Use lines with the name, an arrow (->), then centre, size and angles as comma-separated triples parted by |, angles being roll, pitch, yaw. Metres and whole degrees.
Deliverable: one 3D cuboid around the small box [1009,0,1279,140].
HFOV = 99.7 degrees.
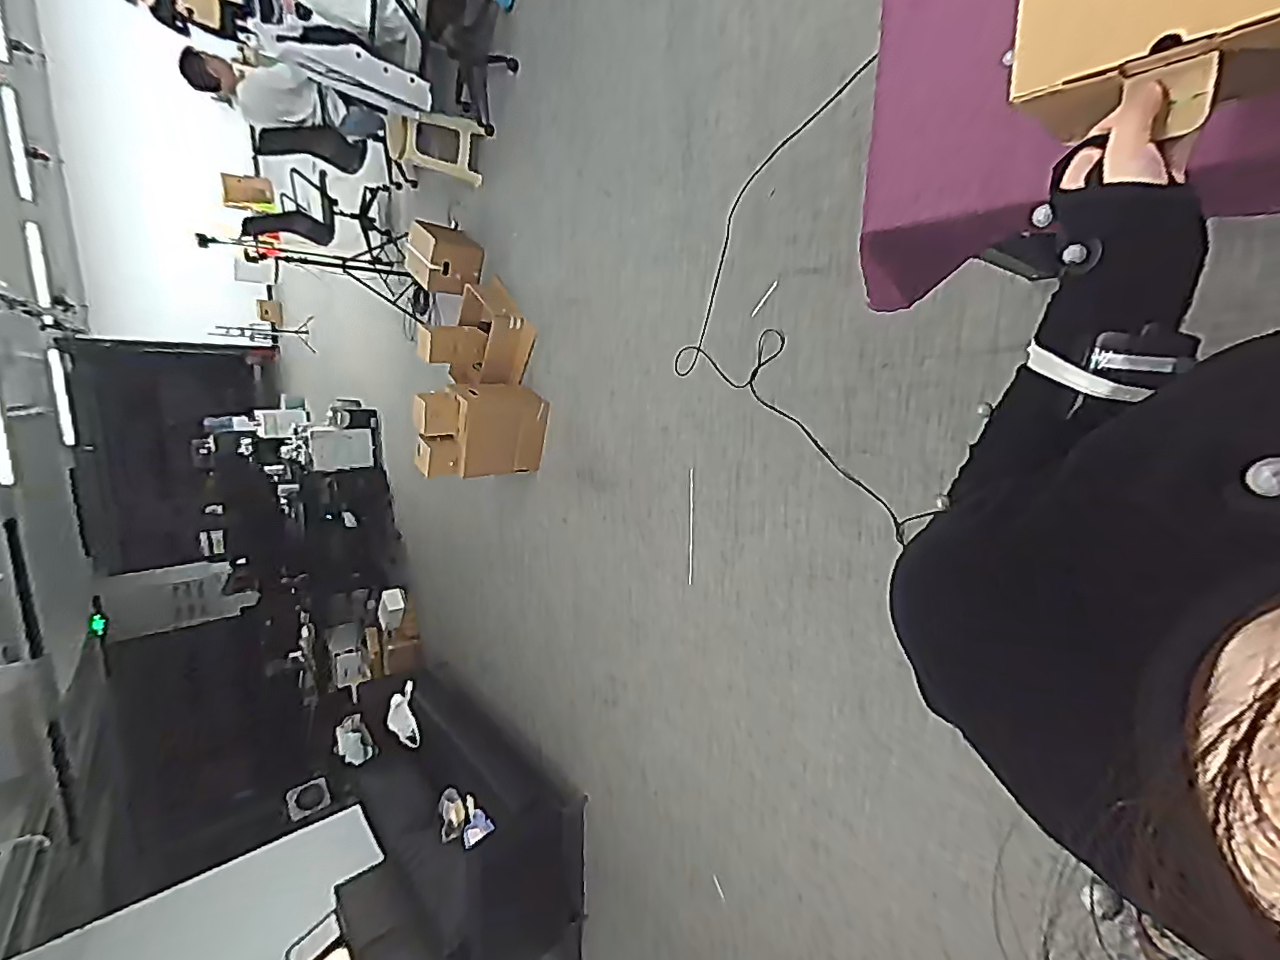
small box -> 0.387, -0.373, 0.381 | 0.168, 0.176, 0.179 | 12, 112, 47
